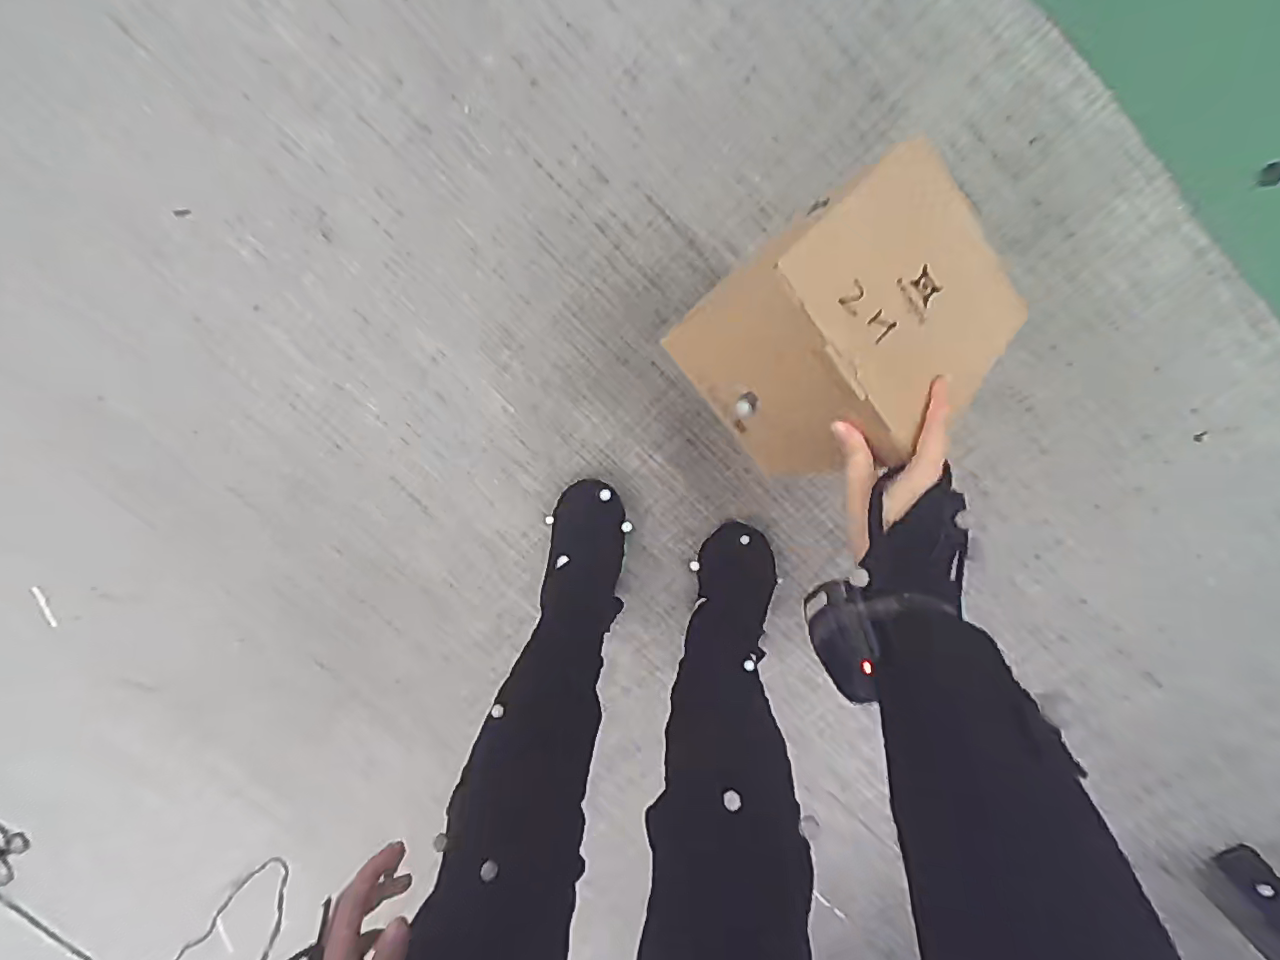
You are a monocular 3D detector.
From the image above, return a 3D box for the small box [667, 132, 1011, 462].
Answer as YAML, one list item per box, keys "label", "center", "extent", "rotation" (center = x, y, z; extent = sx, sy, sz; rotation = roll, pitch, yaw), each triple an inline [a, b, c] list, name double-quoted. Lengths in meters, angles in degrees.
- label: "small box"
  center: [0.154, -0.133, 0.455]
  extent: [0.179, 0.176, 0.168]
  rotation: [-45, 103, -17]
